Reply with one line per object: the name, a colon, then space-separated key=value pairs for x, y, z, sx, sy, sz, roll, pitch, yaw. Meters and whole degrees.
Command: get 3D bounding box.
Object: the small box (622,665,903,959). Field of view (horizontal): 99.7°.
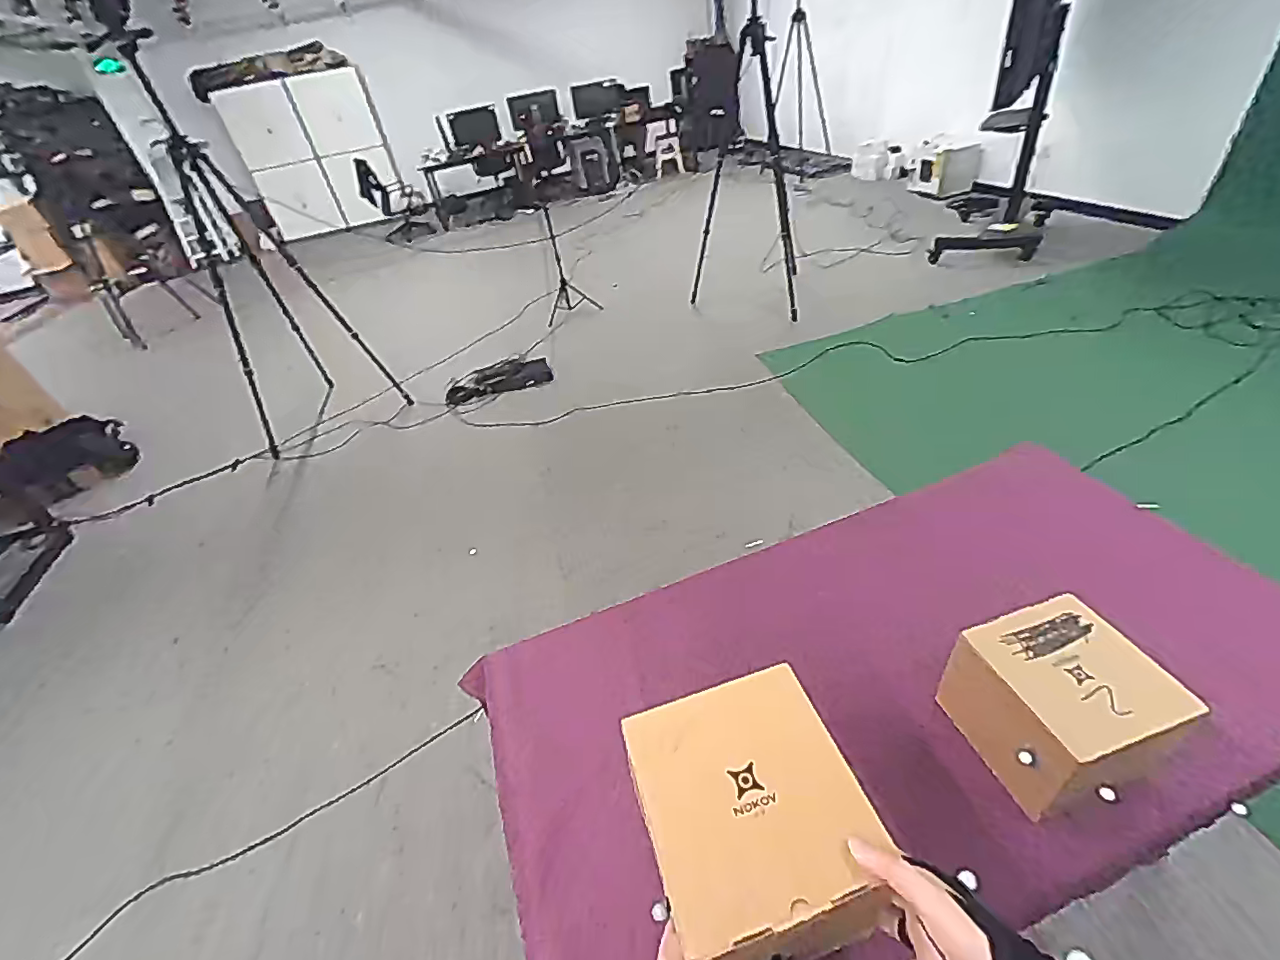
small box: x=0.091 y=0.303 z=0.478 sx=0.168 sy=0.176 sz=0.179 roll=-16 pitch=41 yaw=-9
